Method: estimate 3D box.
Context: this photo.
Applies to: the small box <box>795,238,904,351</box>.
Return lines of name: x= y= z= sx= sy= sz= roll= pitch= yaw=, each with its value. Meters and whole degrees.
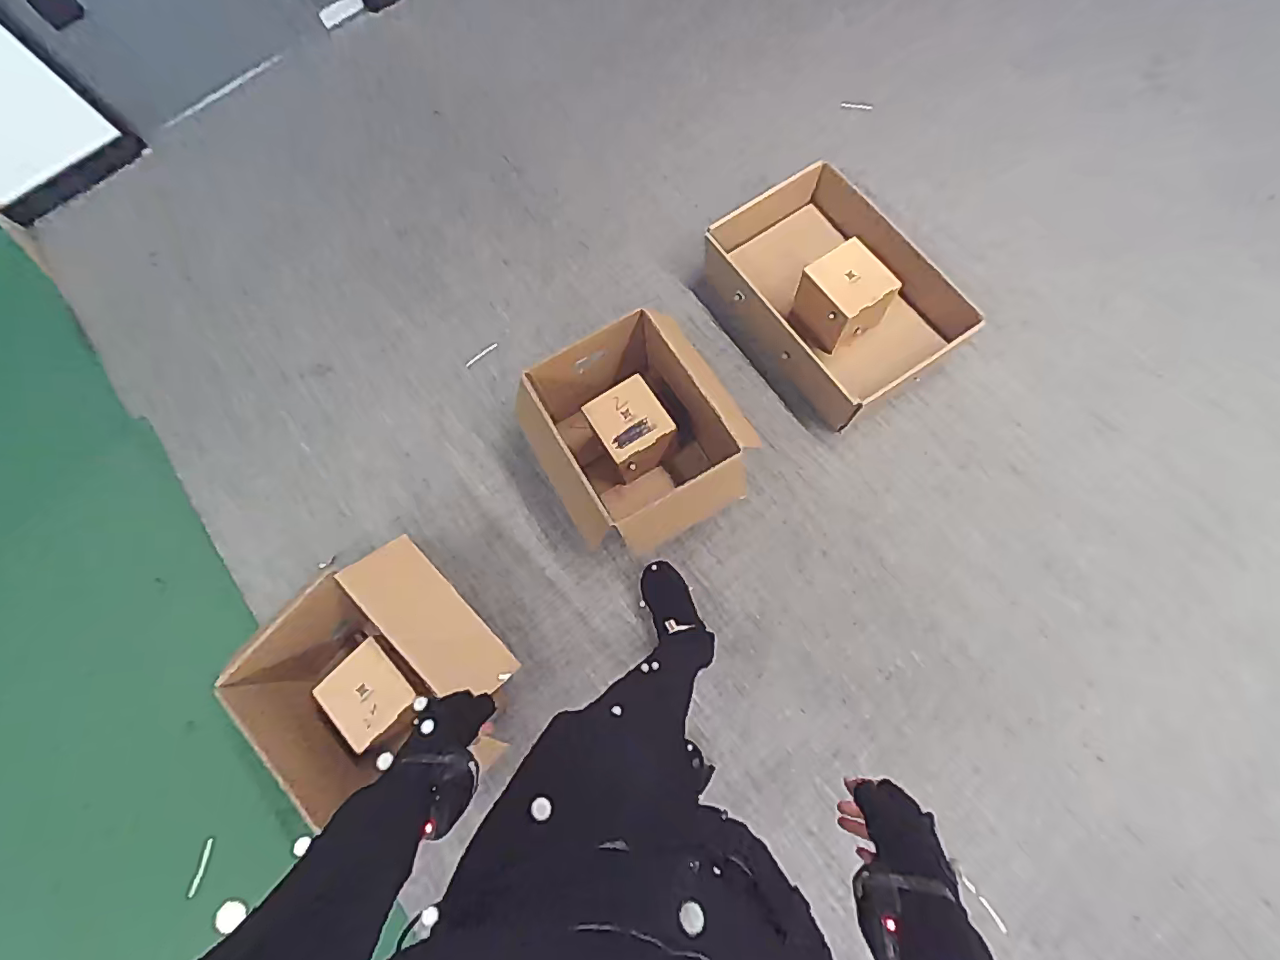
small box: x=0.521 y=-0.465 z=1.377 sx=0.168 sy=0.176 sz=0.179 roll=-34 pitch=73 yaw=-6
